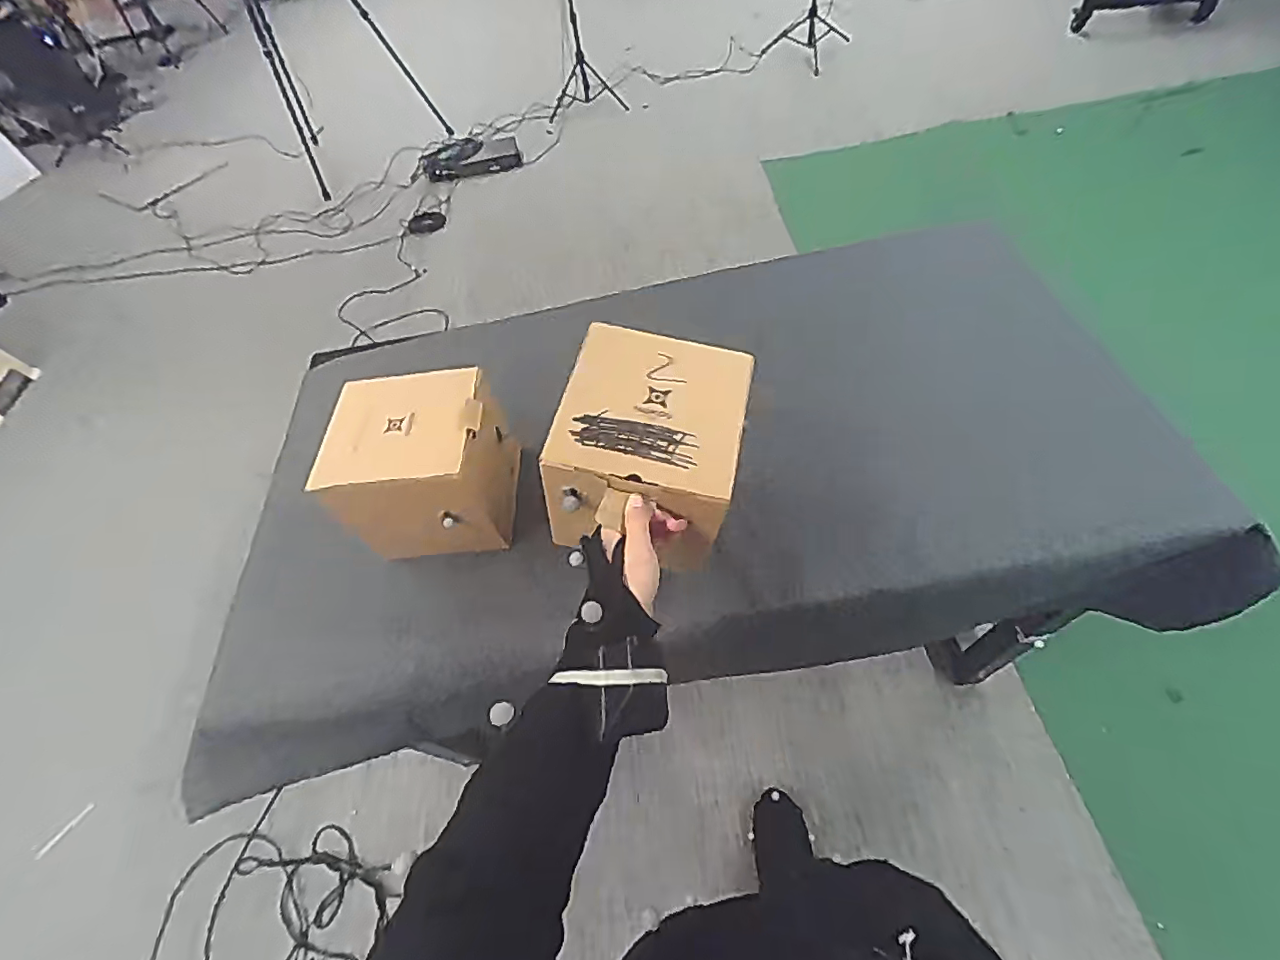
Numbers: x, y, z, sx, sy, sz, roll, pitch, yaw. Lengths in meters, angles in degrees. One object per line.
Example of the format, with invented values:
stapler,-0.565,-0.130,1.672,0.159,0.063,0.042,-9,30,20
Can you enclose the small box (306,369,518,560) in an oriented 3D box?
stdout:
small box,-0.263,-0.014,0.679,0.179,0.176,0.168,-7,54,5
